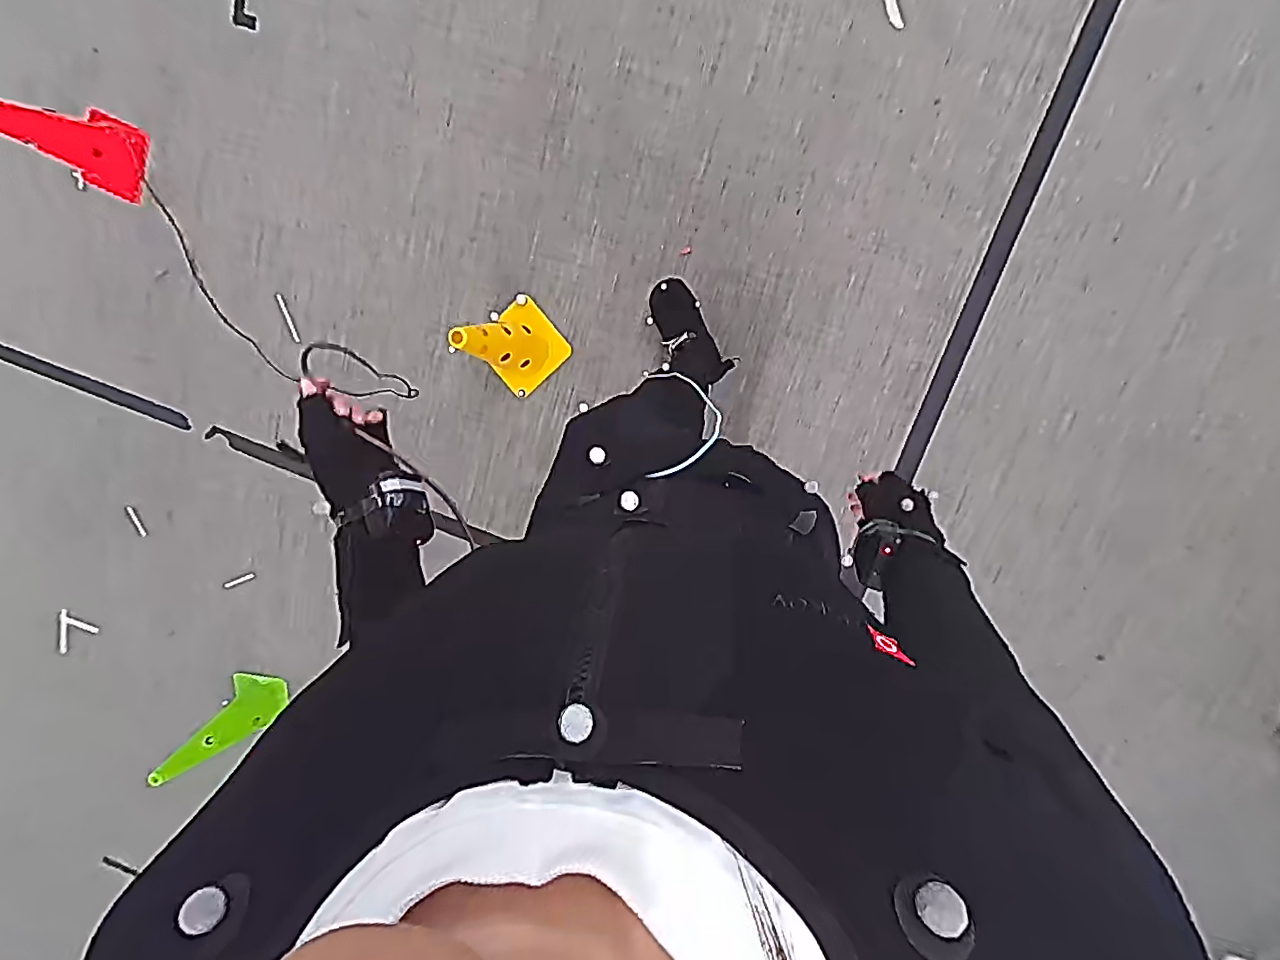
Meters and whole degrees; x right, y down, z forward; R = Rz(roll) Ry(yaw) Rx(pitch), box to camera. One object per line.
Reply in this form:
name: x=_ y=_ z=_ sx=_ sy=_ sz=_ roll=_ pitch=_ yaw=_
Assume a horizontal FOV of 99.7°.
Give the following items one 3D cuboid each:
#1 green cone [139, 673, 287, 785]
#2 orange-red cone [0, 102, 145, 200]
green cone: x=-1.300 y=0.774 z=1.633 sx=0.202 sy=0.368 sz=0.200 roll=4 pitch=101 yaw=10
orange-red cone: x=-1.505 y=-0.877 z=1.345 sx=0.199 sy=0.360 sz=0.198 roll=26 pitch=105 yaw=3
